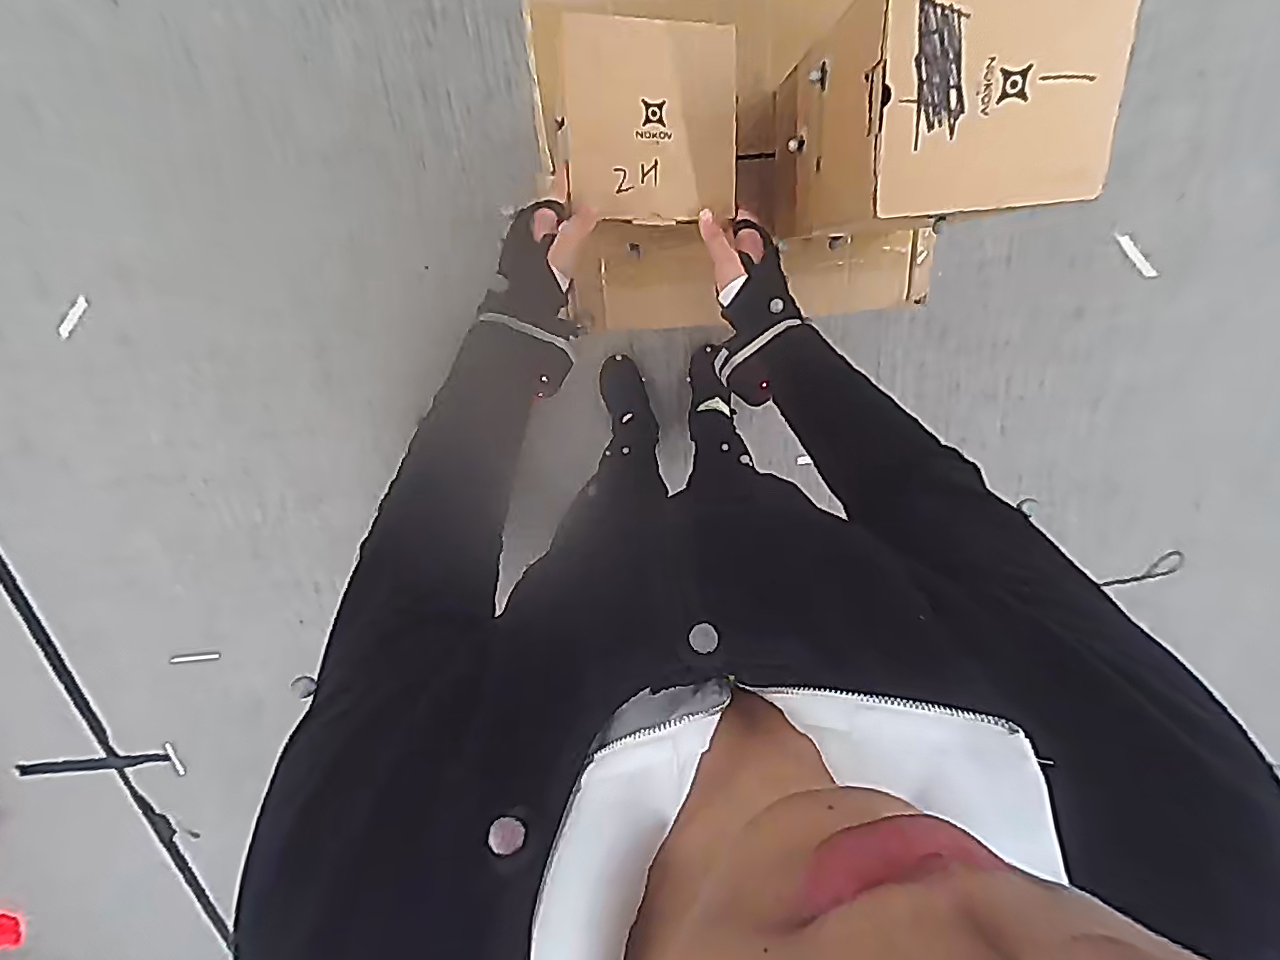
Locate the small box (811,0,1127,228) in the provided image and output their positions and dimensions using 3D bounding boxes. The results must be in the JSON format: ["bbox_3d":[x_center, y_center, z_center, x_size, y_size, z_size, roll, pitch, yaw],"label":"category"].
[{"bbox_3d":[0.256,-0.319,0.468,0.179,0.176,0.168,-5,111,2],"label":"small box"}]

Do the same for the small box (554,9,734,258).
[{"bbox_3d":[-0.005,-0.355,0.591,0.168,0.176,0.179,-3,101,-10],"label":"small box"}]

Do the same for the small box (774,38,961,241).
[{"bbox_3d":[0.254,-0.379,0.622,0.168,0.176,0.179,-5,113,3],"label":"small box"}]
